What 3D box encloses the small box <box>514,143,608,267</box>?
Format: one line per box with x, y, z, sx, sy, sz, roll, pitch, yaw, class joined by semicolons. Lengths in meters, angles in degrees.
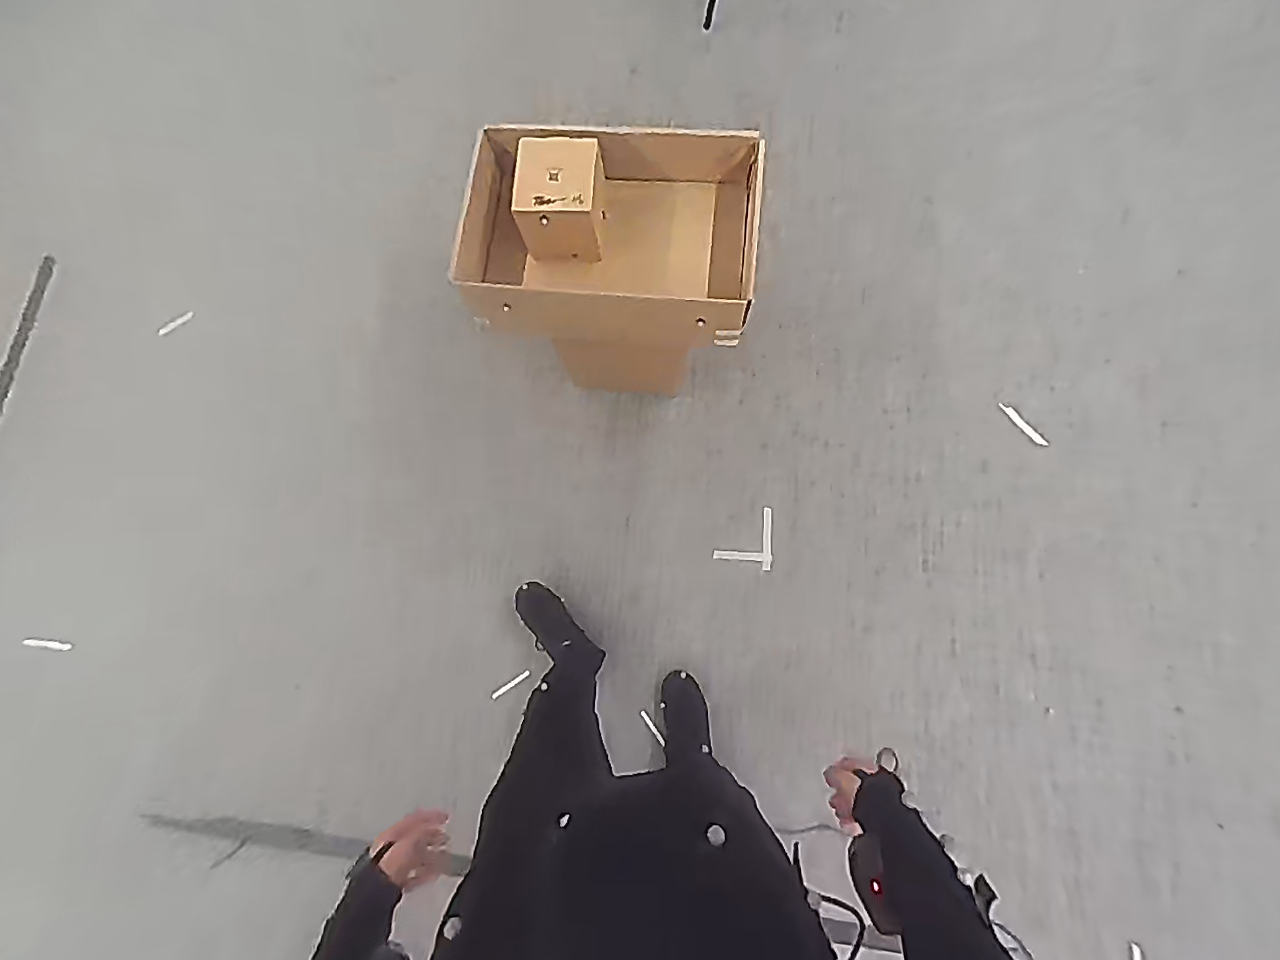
-0.164;-0.594;1.178;0.168;0.176;0.179;3;78;5;small box
